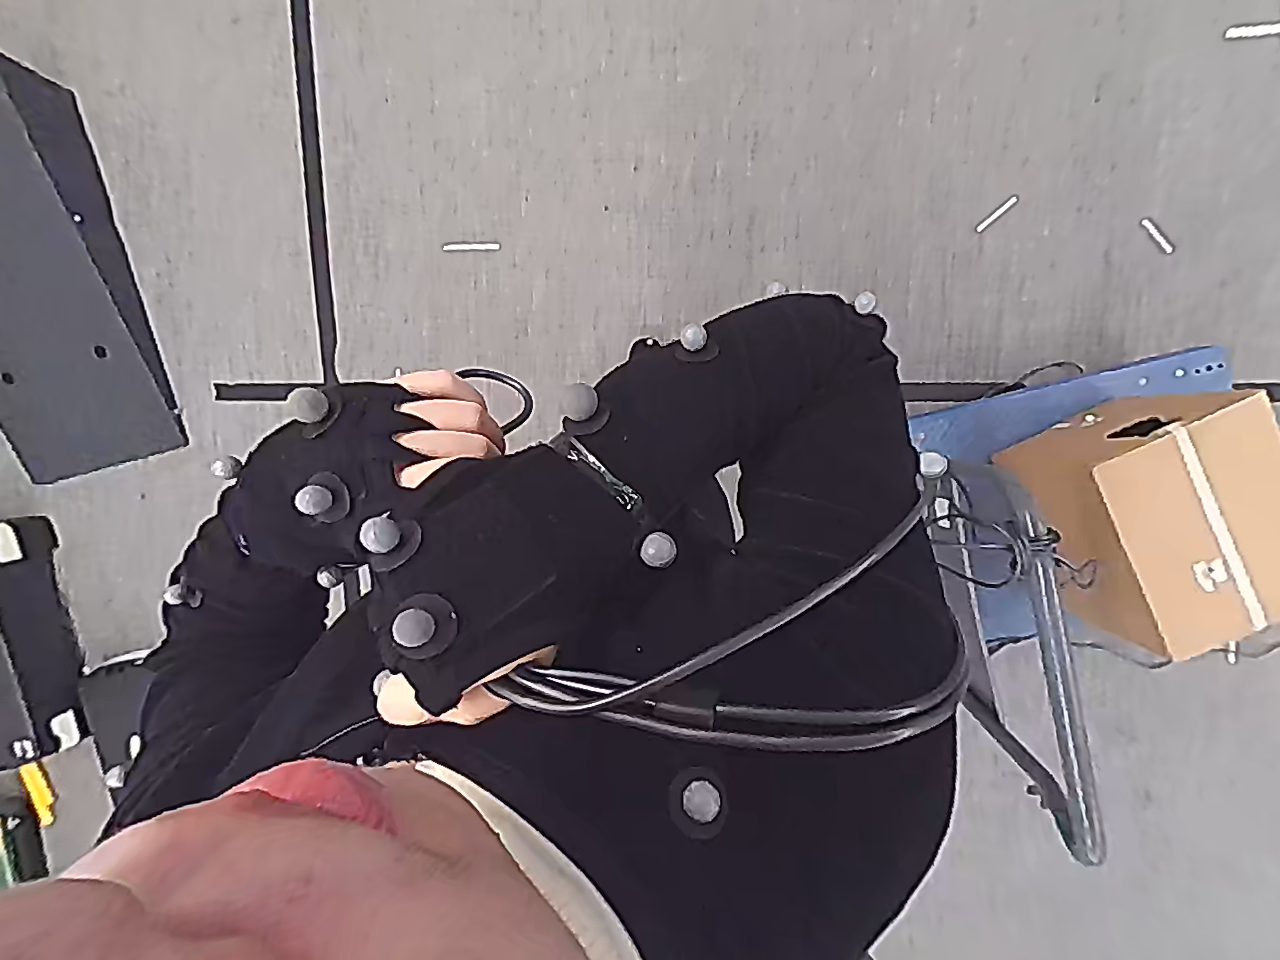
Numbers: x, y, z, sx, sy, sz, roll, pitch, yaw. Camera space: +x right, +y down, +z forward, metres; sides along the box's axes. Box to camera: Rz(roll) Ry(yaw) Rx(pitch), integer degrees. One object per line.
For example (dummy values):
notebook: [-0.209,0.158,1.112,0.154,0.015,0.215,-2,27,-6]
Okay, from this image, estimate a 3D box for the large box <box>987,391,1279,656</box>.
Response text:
large box: [1.015,0.067,1.111,0.320,0.320,0.408,-25,95,6]
